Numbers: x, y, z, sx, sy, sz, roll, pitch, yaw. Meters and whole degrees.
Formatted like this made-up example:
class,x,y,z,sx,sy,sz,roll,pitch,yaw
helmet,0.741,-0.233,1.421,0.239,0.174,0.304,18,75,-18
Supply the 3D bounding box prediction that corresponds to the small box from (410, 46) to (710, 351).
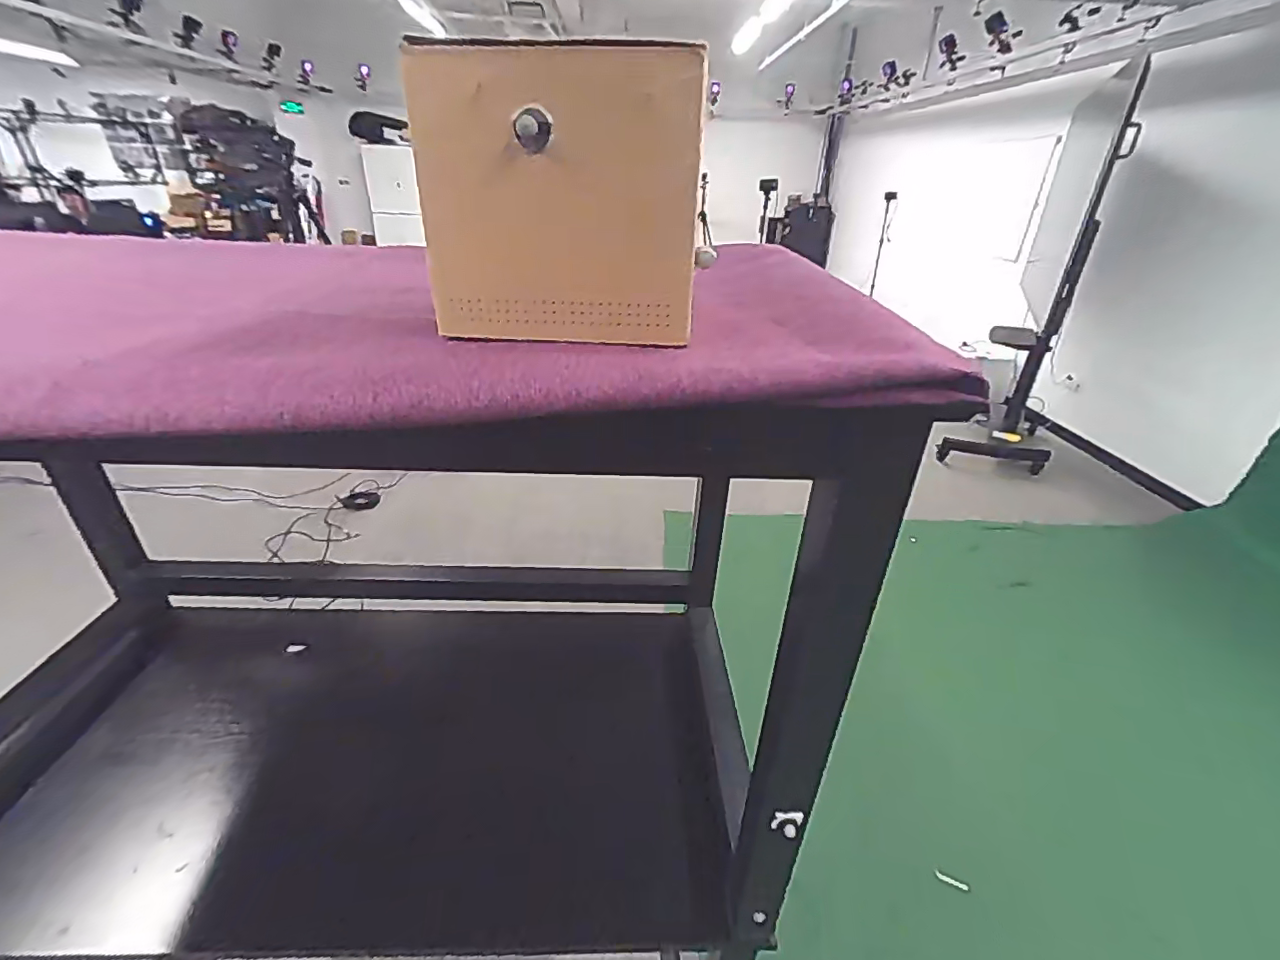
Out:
class,x,y,z,sx,sy,sz,roll,pitch,yaw
small box,-0.041,-0.199,0.408,0.179,0.176,0.168,4,28,3
